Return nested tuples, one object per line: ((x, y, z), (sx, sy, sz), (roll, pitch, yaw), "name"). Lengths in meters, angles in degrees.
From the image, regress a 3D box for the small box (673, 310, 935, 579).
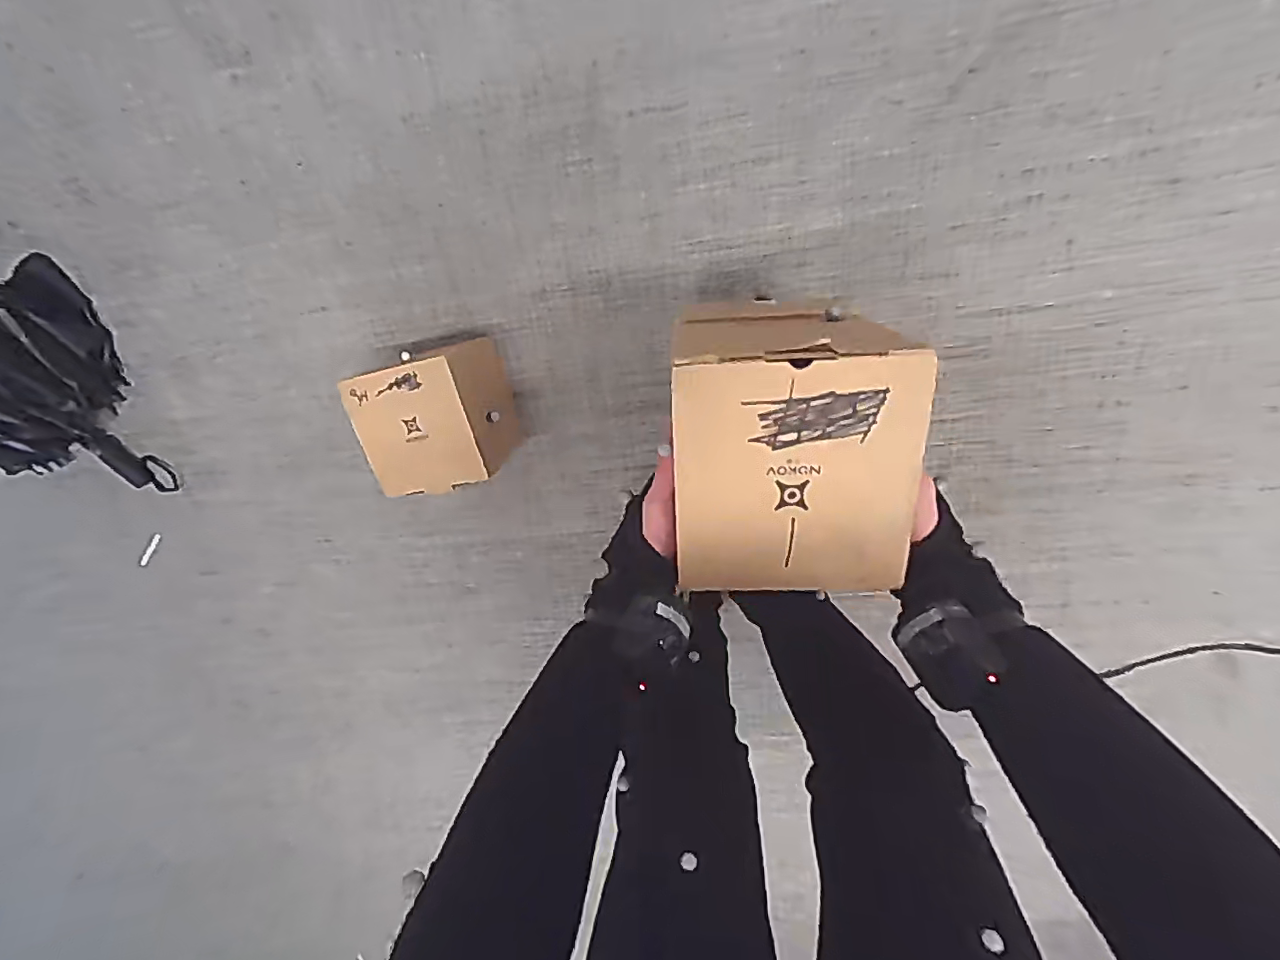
((0.111, -0.039, 0.442), (0.168, 0.176, 0.179), (-1, 115, 7), "small box")

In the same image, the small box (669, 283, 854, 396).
((0.122, -0.112, 0.588), (0.168, 0.176, 0.179), (-2, 112, 7), "small box")
